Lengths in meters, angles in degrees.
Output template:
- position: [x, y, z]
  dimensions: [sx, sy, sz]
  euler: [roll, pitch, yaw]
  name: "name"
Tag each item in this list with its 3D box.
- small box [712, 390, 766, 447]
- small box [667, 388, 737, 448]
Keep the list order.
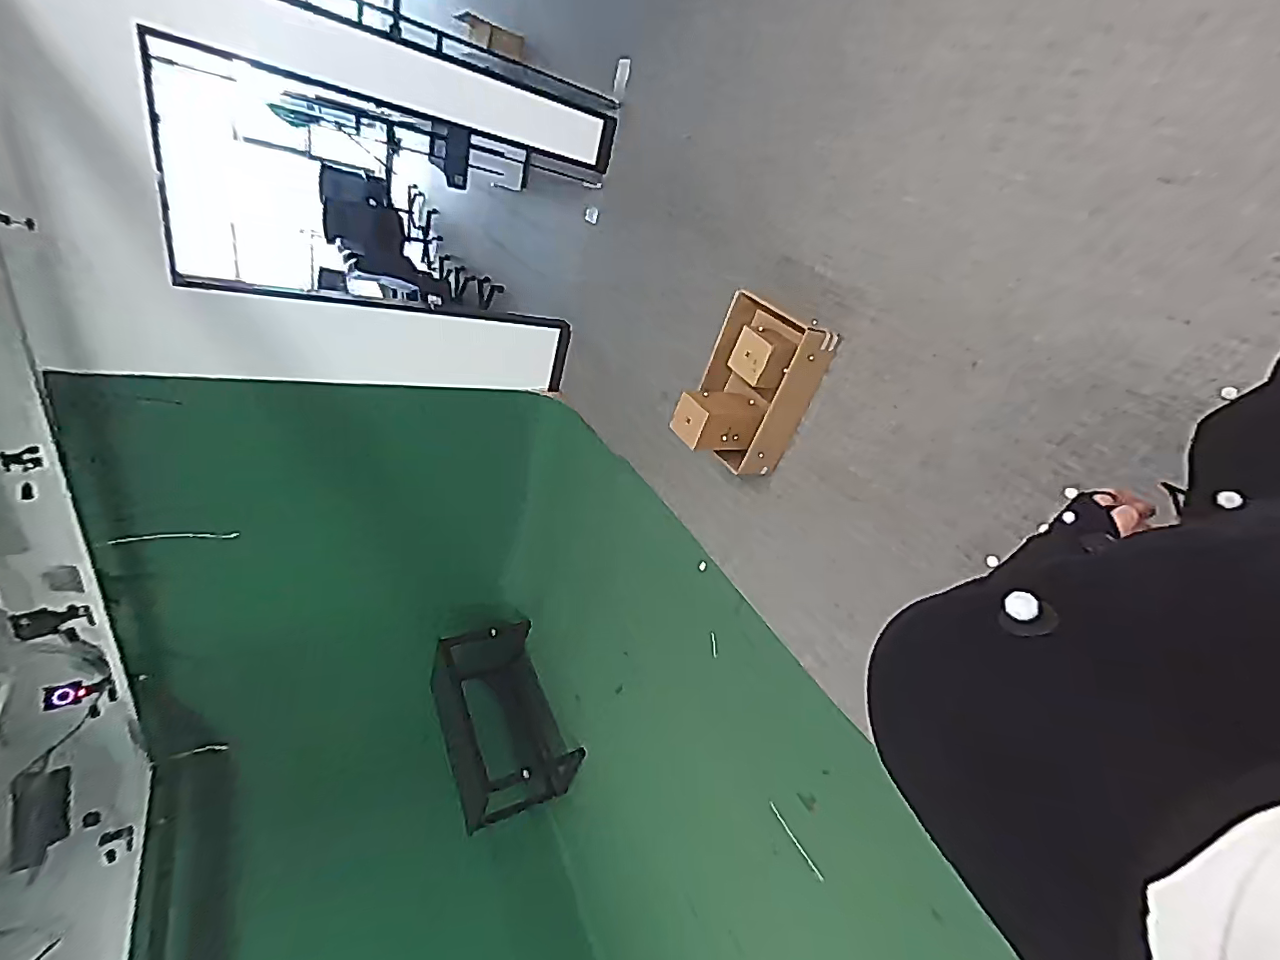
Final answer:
- position: [0.372, -0.246, 2.179]
  dimensions: [0.179, 0.176, 0.168]
  euler: [53, 134, 40]
  name: "small box"
- position: [0.239, -0.236, 2.086]
  dimensions: [0.179, 0.176, 0.168]
  euler: [52, 133, 39]
  name: "small box"
